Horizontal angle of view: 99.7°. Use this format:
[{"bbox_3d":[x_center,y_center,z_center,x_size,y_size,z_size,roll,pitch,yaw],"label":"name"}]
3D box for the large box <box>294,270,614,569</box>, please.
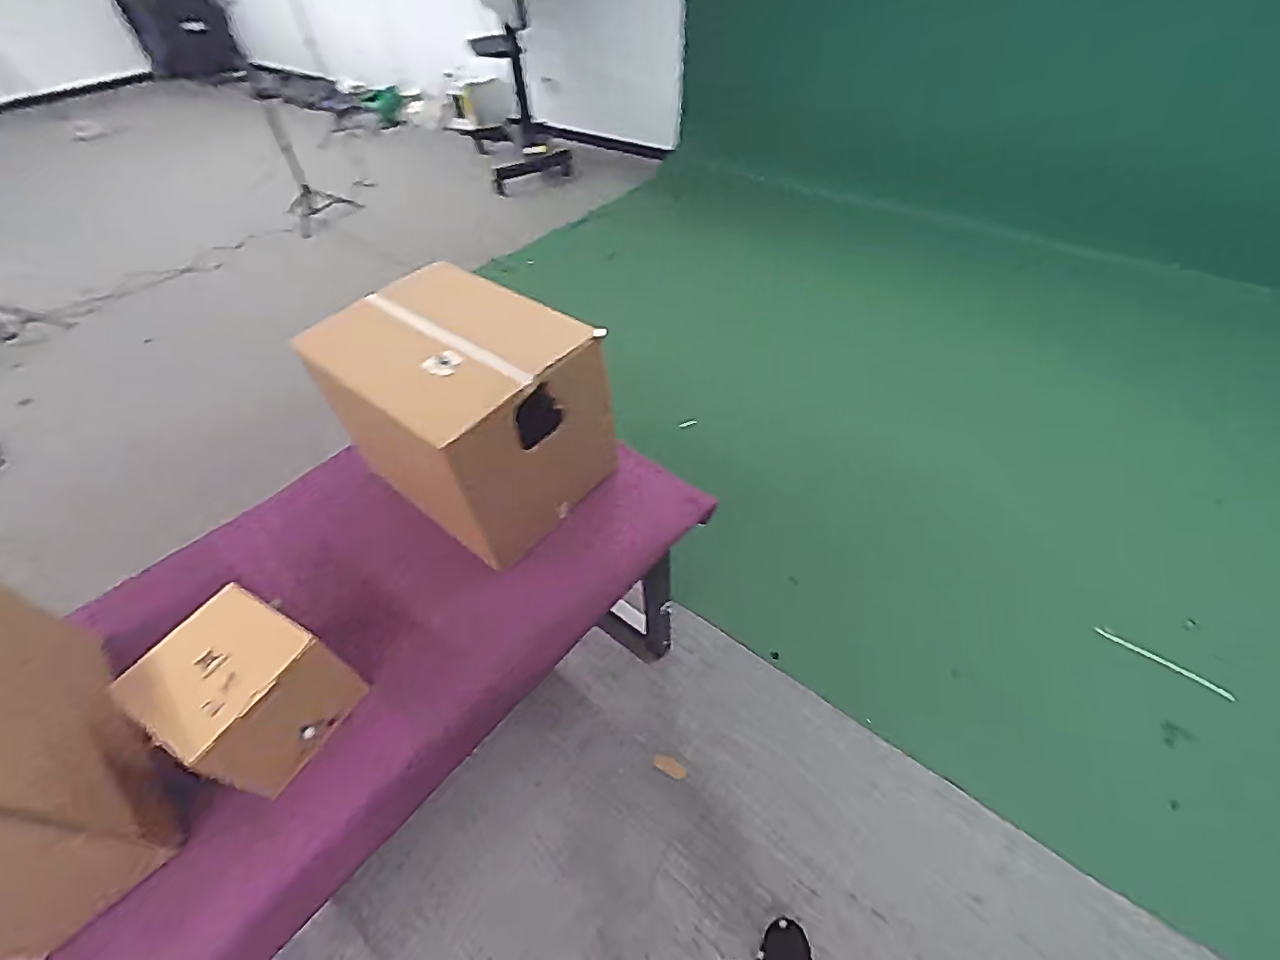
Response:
[{"bbox_3d":[-0.301,-0.117,0.964,0.408,0.320,0.320,30,58,25],"label":"large box"}]
